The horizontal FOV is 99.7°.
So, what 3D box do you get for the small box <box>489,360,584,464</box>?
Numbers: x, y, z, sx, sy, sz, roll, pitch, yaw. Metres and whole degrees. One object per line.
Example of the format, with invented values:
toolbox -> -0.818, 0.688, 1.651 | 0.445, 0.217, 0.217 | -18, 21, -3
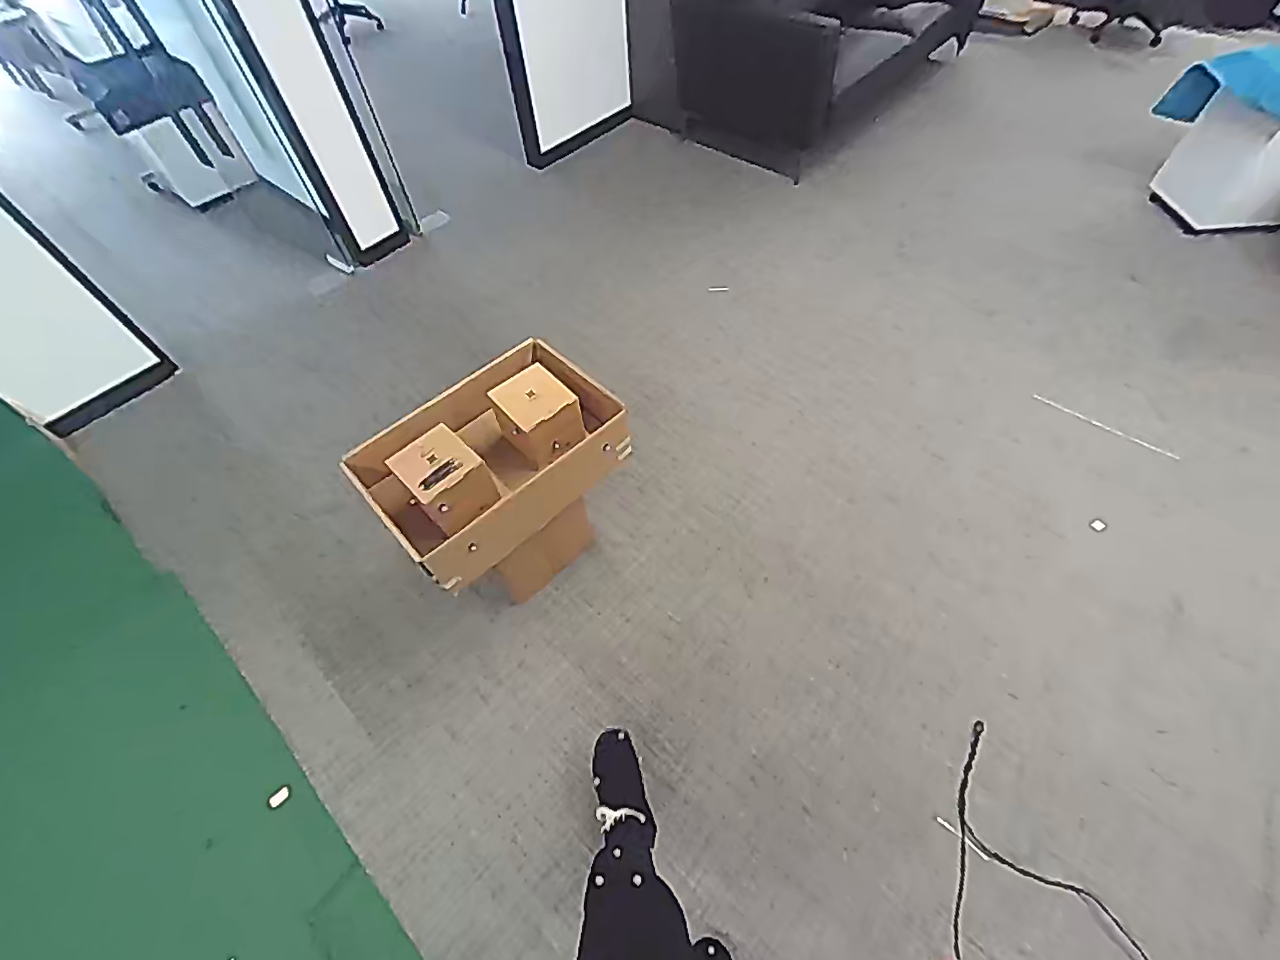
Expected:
small box -> -0.268, -0.176, 1.429 | 0.168, 0.176, 0.179 | -37, 63, -21
